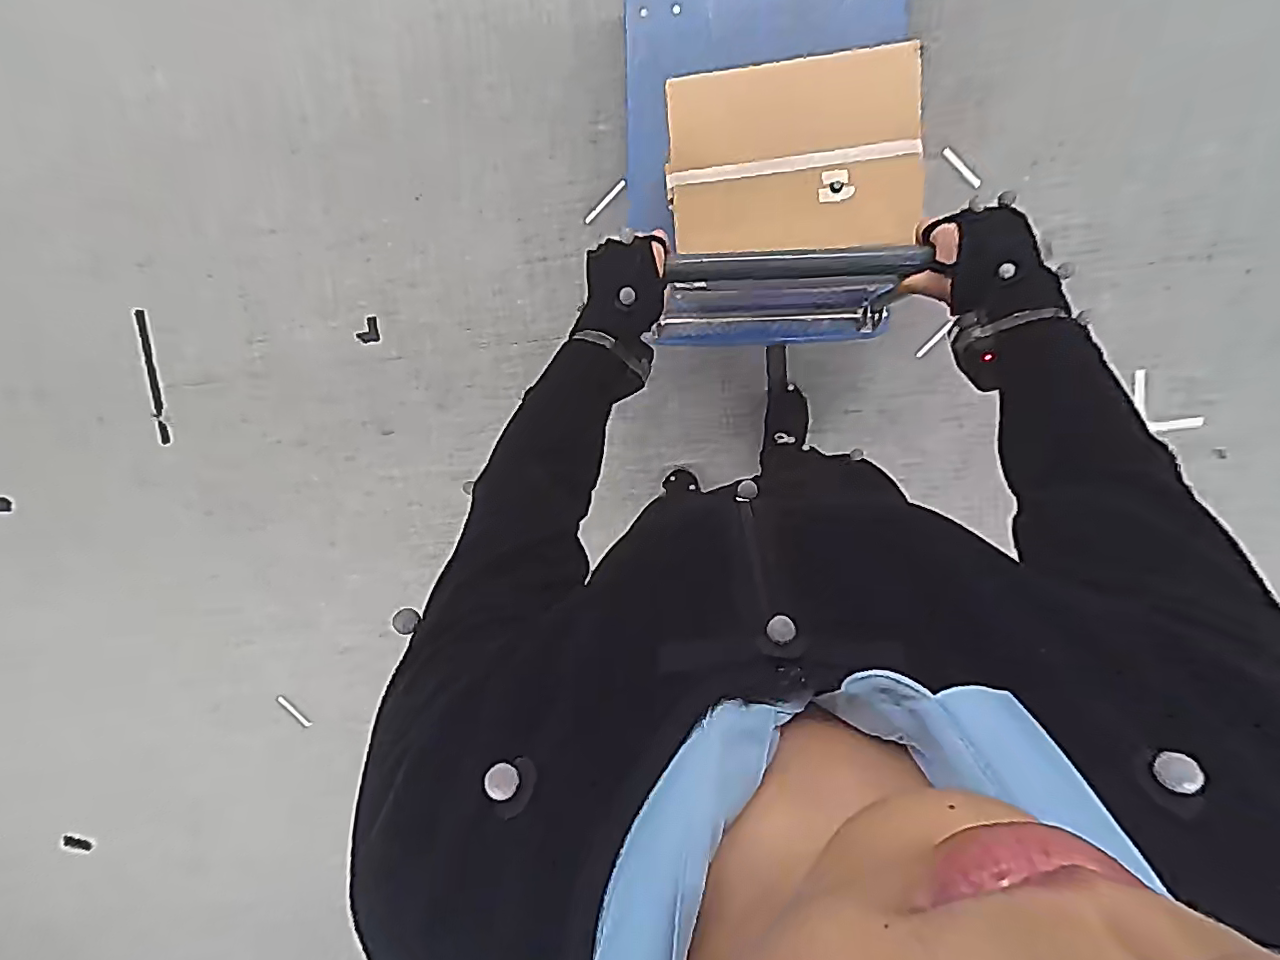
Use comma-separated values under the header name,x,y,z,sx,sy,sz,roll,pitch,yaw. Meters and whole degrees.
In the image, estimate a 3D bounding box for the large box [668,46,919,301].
name,x,y,z,sx,sy,sz,roll,pitch,yaw
large box,0.272,-0.553,1.056,0.408,0.320,0.320,-4,100,7
